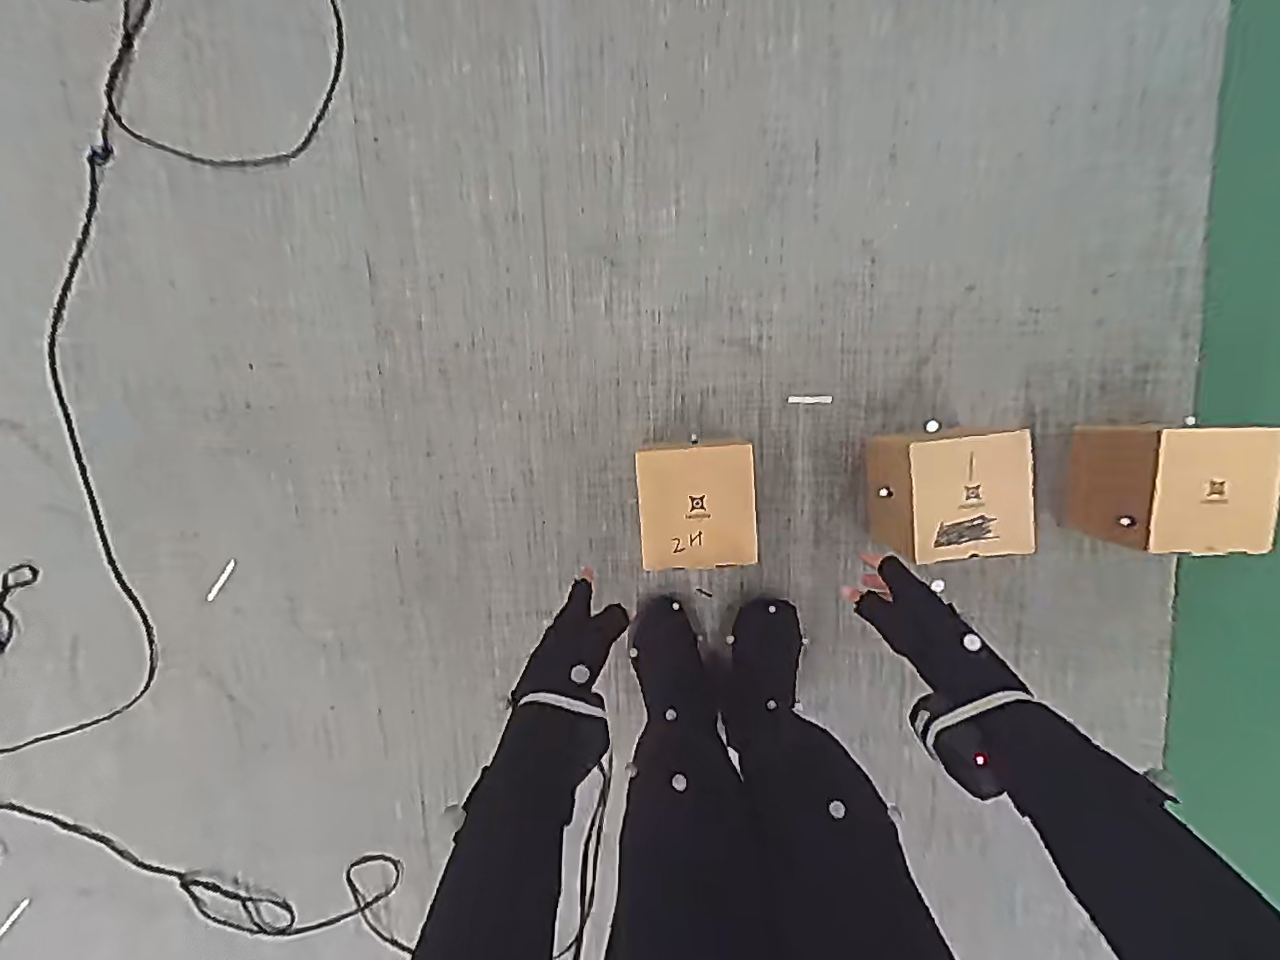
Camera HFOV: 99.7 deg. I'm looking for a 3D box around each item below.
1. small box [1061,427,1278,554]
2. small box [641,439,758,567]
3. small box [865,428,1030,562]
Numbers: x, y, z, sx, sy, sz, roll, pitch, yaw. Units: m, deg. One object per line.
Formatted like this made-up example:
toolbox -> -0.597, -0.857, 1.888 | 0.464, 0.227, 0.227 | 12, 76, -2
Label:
small box -> 0.787, 0.007, 0.824 | 0.168, 0.176, 0.179 | 0, 98, 3
small box -> 0.088, 0.027, 0.849 | 0.168, 0.176, 0.179 | -3, 98, 4
small box -> 0.462, 0.015, 0.834 | 0.168, 0.176, 0.179 | -5, 97, 2
